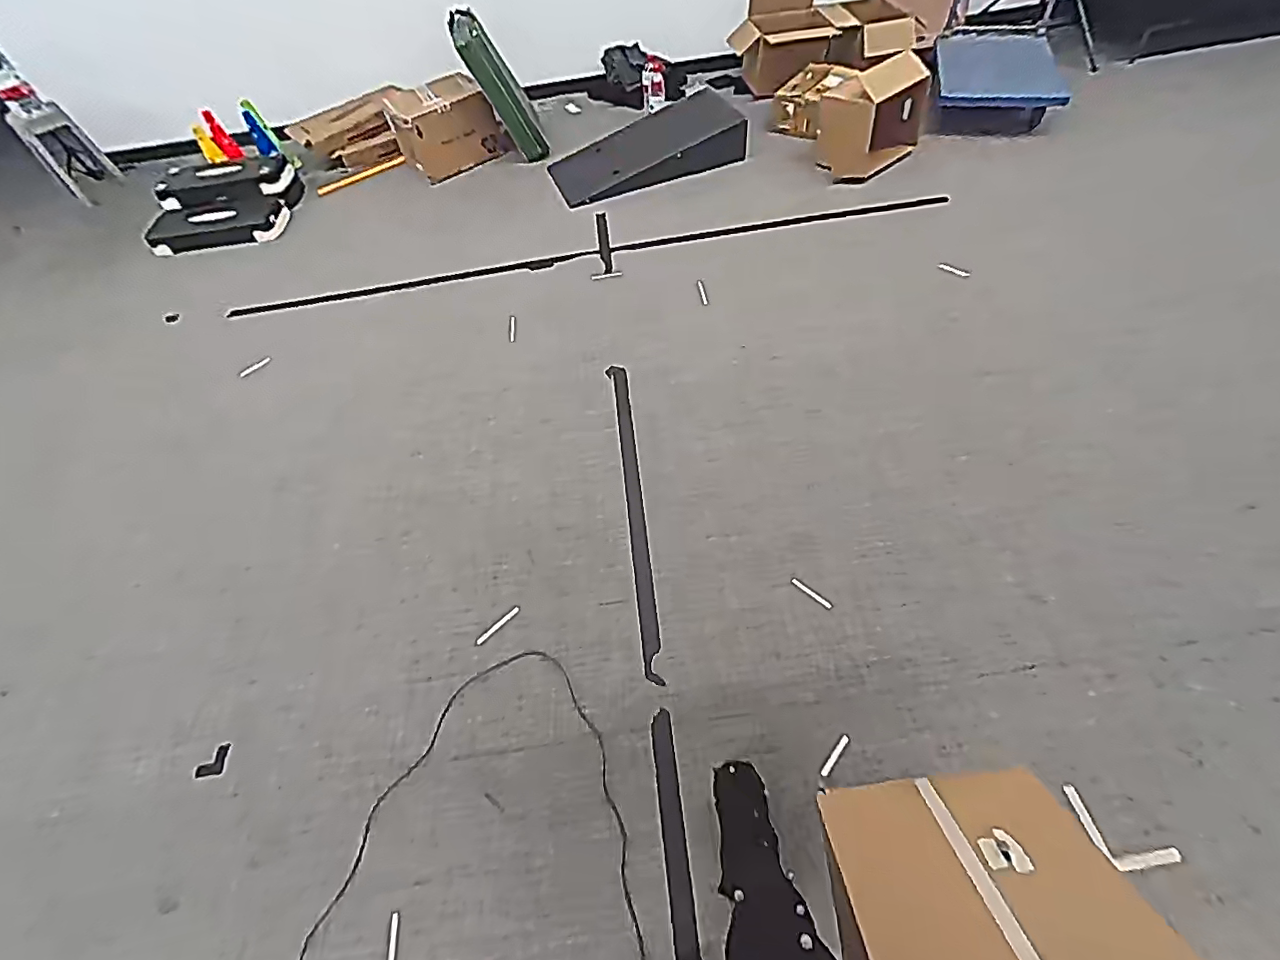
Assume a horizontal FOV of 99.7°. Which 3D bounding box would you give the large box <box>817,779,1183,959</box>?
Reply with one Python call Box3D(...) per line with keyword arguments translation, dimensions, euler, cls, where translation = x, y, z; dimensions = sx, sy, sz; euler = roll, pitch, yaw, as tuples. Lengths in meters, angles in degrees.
Box3D(translation=(0.442, 0.655, 0.655), dimensions=(0.320, 0.408, 0.320), euler=(-9, 99, 5), cls="large box")
